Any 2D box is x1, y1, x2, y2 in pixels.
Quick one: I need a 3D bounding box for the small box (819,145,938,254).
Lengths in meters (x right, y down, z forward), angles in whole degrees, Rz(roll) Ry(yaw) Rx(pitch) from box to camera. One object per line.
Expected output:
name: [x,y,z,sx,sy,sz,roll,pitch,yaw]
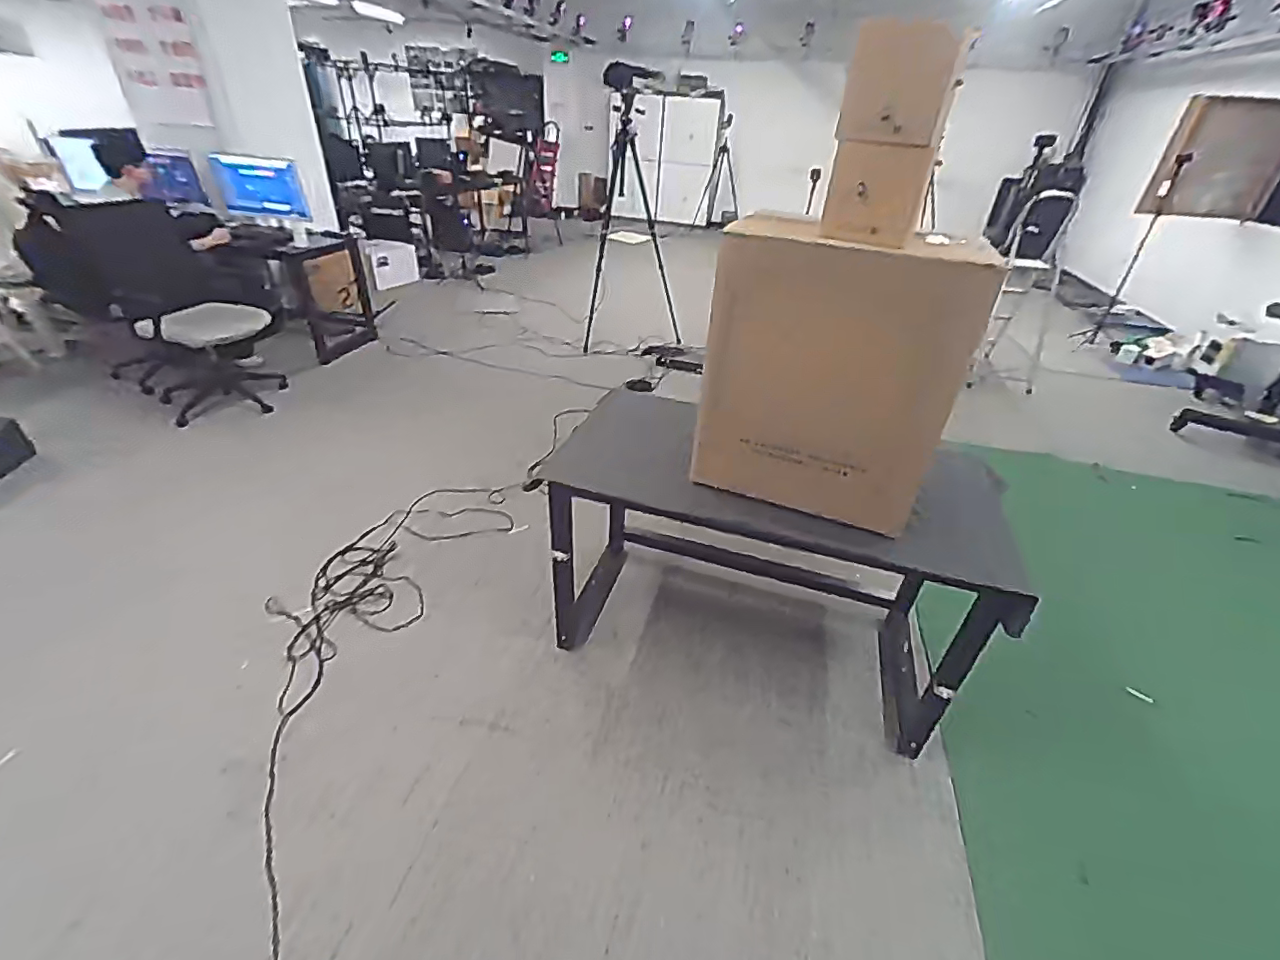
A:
small box: [0.463,-0.552,1.060,0.168,0.176,0.179,19,38,21]
